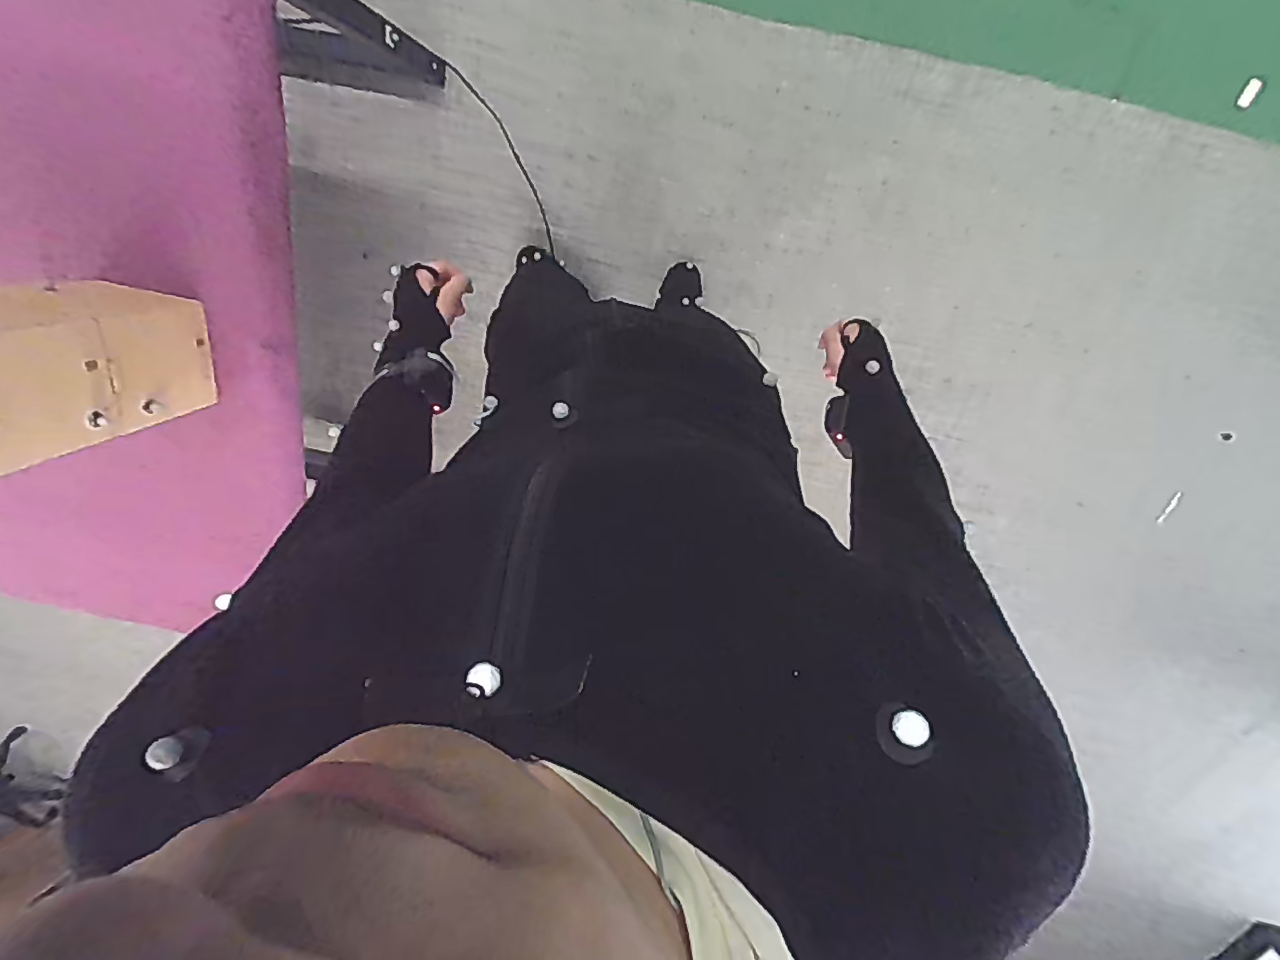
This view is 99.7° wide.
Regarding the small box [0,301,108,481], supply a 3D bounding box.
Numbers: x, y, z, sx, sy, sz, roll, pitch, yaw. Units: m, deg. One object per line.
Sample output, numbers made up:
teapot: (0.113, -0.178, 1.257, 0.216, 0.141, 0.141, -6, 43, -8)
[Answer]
small box: (-0.794, -0.114, 0.643, 0.179, 0.176, 0.168, 12, 114, 1)
